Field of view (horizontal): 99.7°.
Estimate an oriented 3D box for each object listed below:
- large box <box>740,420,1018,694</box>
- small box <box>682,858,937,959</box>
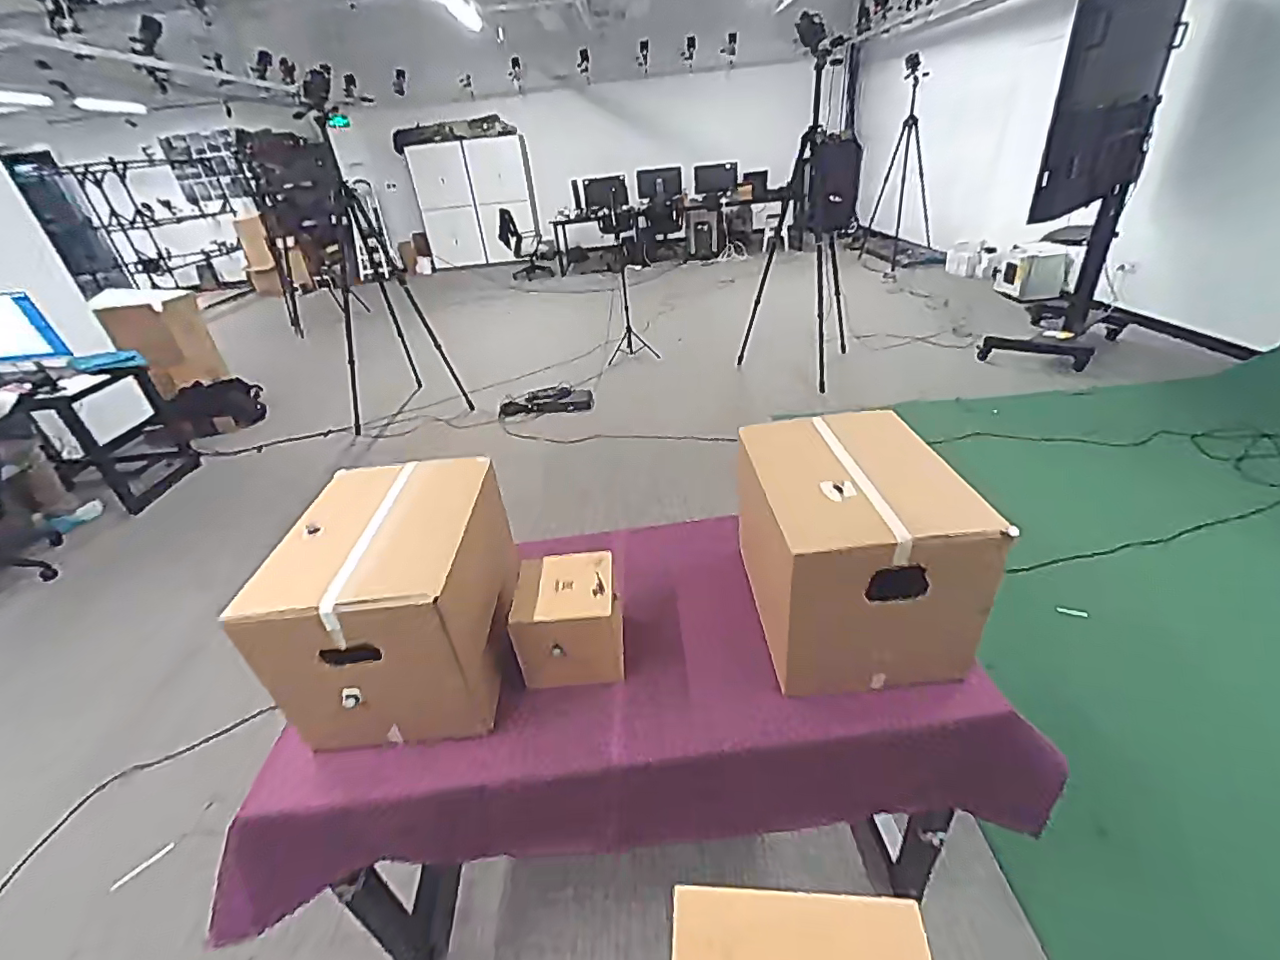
[{"bbox_3d":[0.379,0.121,0.998,0.320,0.320,0.408,-6,32,1],"label":"large box"},{"bbox_3d":[0.111,0.395,0.370,0.168,0.176,0.179,-1,38,7],"label":"small box"}]
